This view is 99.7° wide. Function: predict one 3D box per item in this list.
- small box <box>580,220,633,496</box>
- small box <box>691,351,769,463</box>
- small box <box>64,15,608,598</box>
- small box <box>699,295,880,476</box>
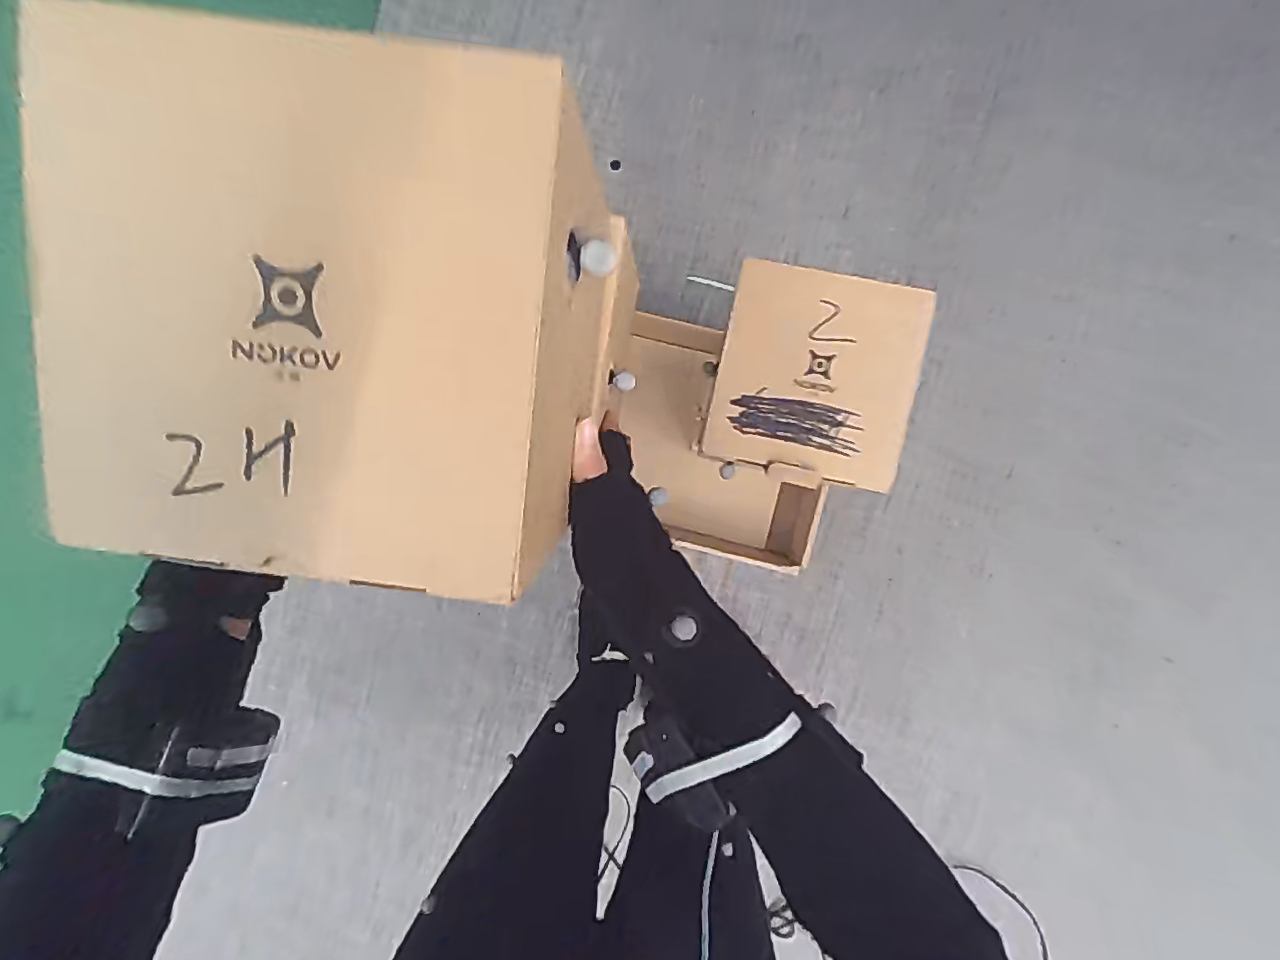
[{"bbox_3d":[-0.099,-0.099,0.424,0.168,0.176,0.179,9,100,-1],"label":"small box"},{"bbox_3d":[0.196,-0.130,1.027,0.168,0.176,0.179,11,92,6],"label":"small box"},{"bbox_3d":[-0.110,-0.064,0.263,0.168,0.176,0.179,8,100,0],"label":"small box"},{"bbox_3d":[0.178,-0.111,0.699,0.168,0.176,0.179,16,93,4],"label":"small box"}]
